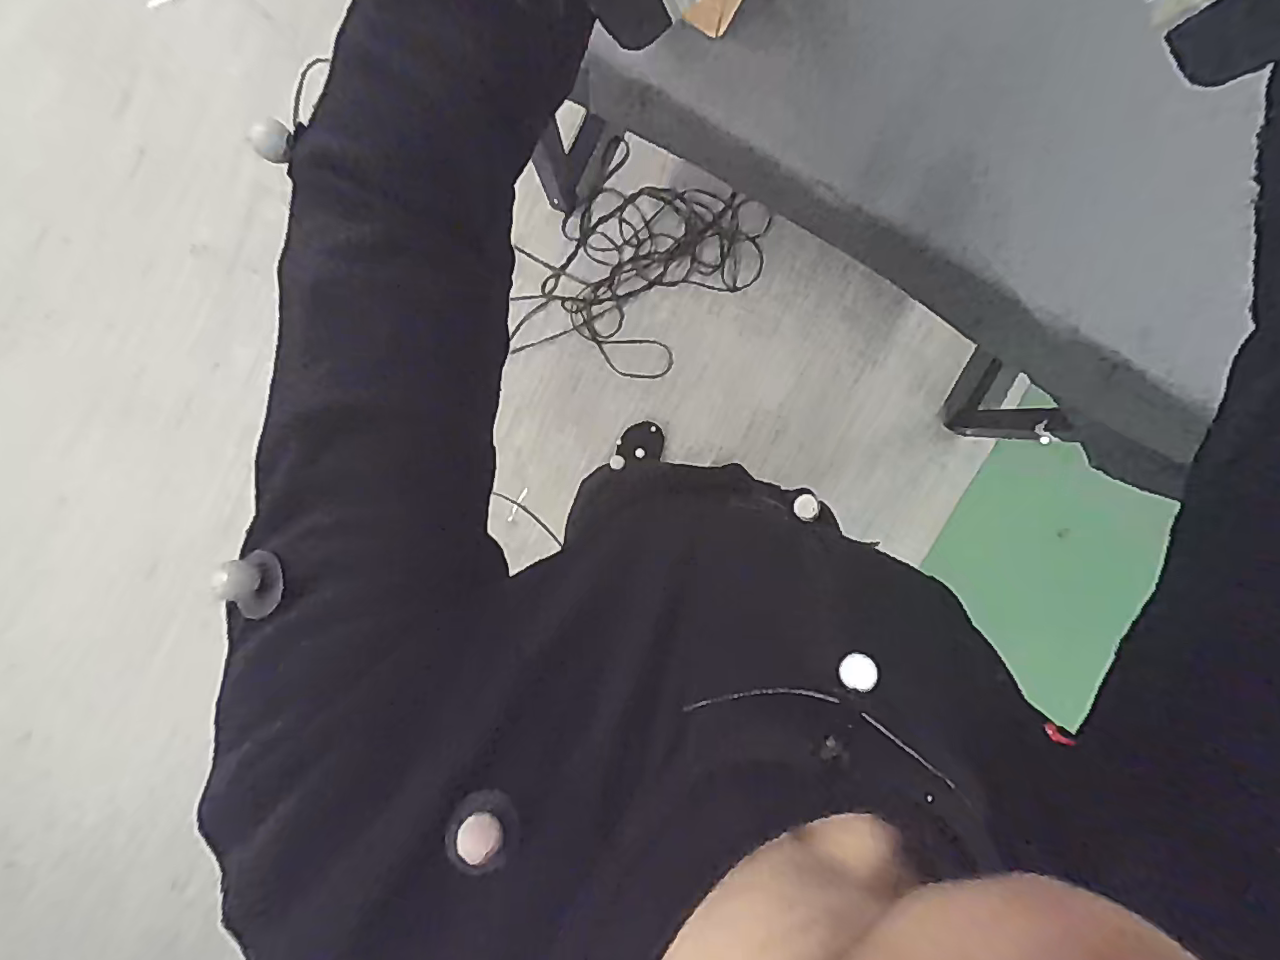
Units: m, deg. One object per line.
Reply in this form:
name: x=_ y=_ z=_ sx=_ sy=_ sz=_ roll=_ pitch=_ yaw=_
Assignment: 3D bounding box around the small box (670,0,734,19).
small box: x=0.049 y=-0.581 z=0.483 sx=0.179 sy=0.176 sz=0.168 roll=30 pitch=95 yaw=-5
